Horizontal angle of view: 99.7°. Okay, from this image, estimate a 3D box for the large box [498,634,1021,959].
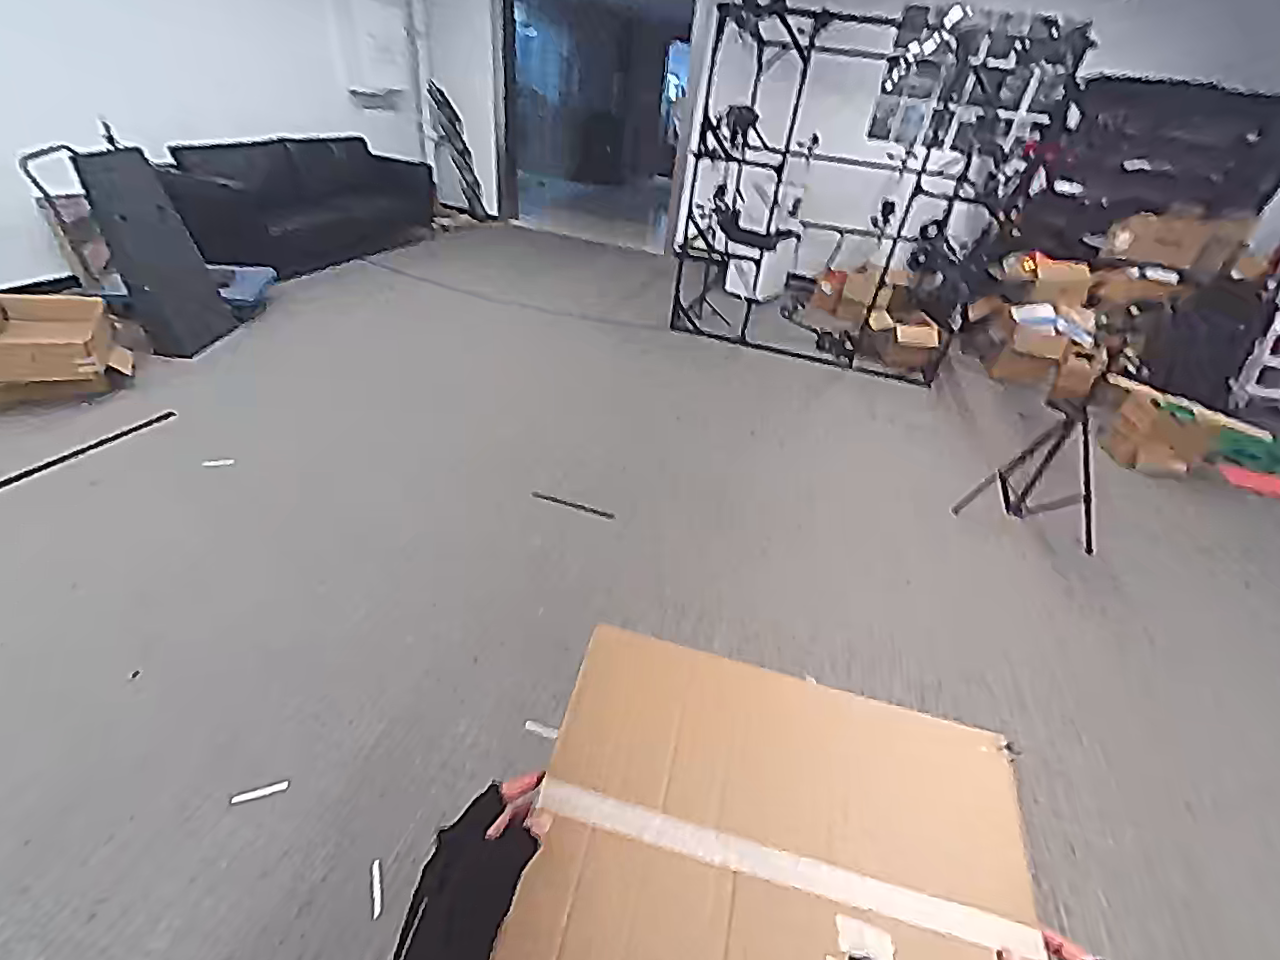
[{"bbox_3d":[0.098,0.409,0.570,0.408,0.320,0.320,14,52,5],"label":"large box"}]
